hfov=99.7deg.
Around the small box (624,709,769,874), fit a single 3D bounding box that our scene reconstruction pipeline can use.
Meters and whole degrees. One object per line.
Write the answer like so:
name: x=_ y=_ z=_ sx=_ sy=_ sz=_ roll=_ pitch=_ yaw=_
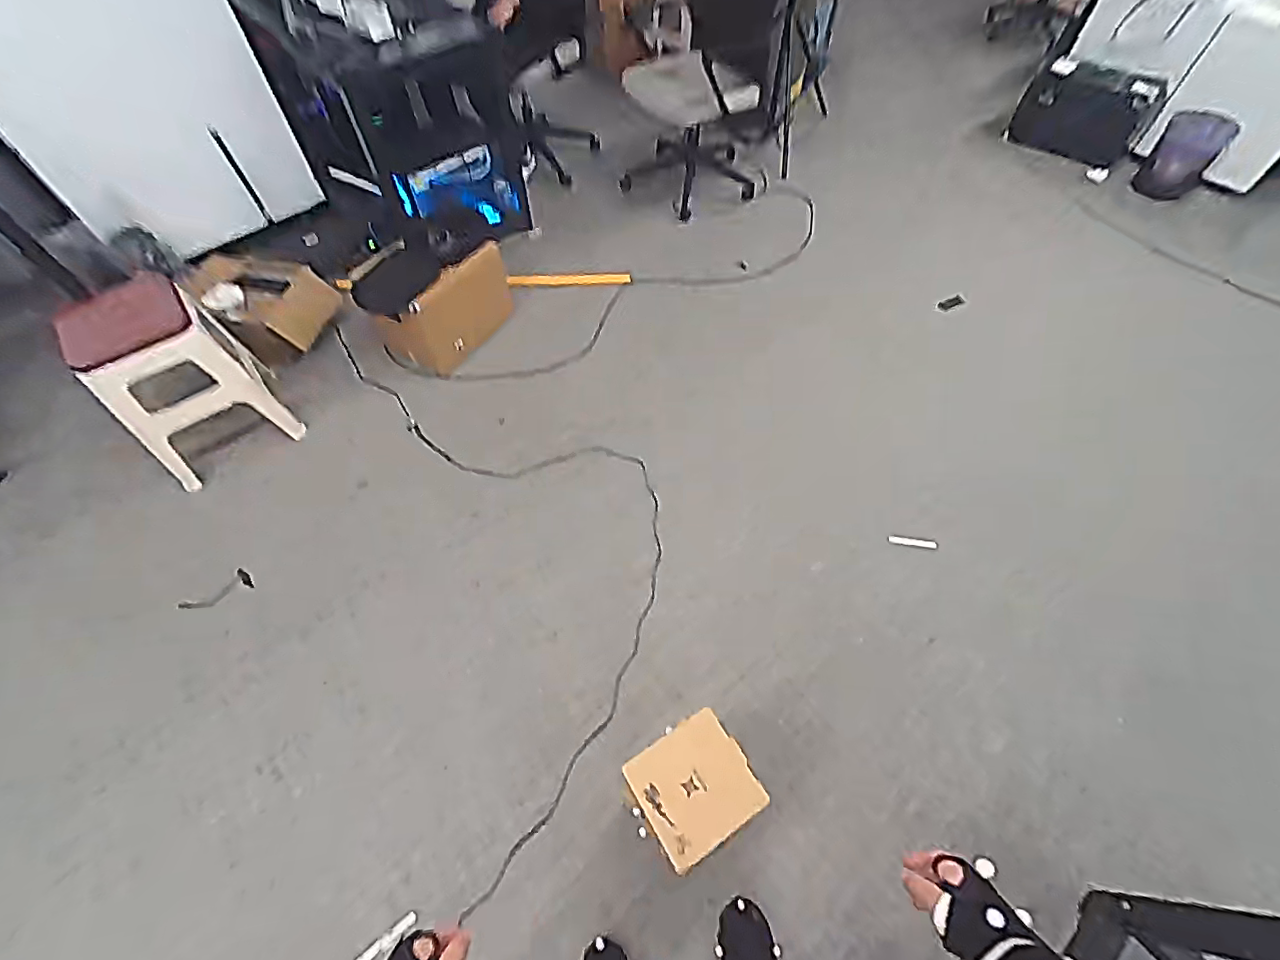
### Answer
small box: x=0.084 y=0.520 z=0.910 sx=0.179 sy=0.176 sz=0.168 roll=-28 pitch=61 yaw=-18
